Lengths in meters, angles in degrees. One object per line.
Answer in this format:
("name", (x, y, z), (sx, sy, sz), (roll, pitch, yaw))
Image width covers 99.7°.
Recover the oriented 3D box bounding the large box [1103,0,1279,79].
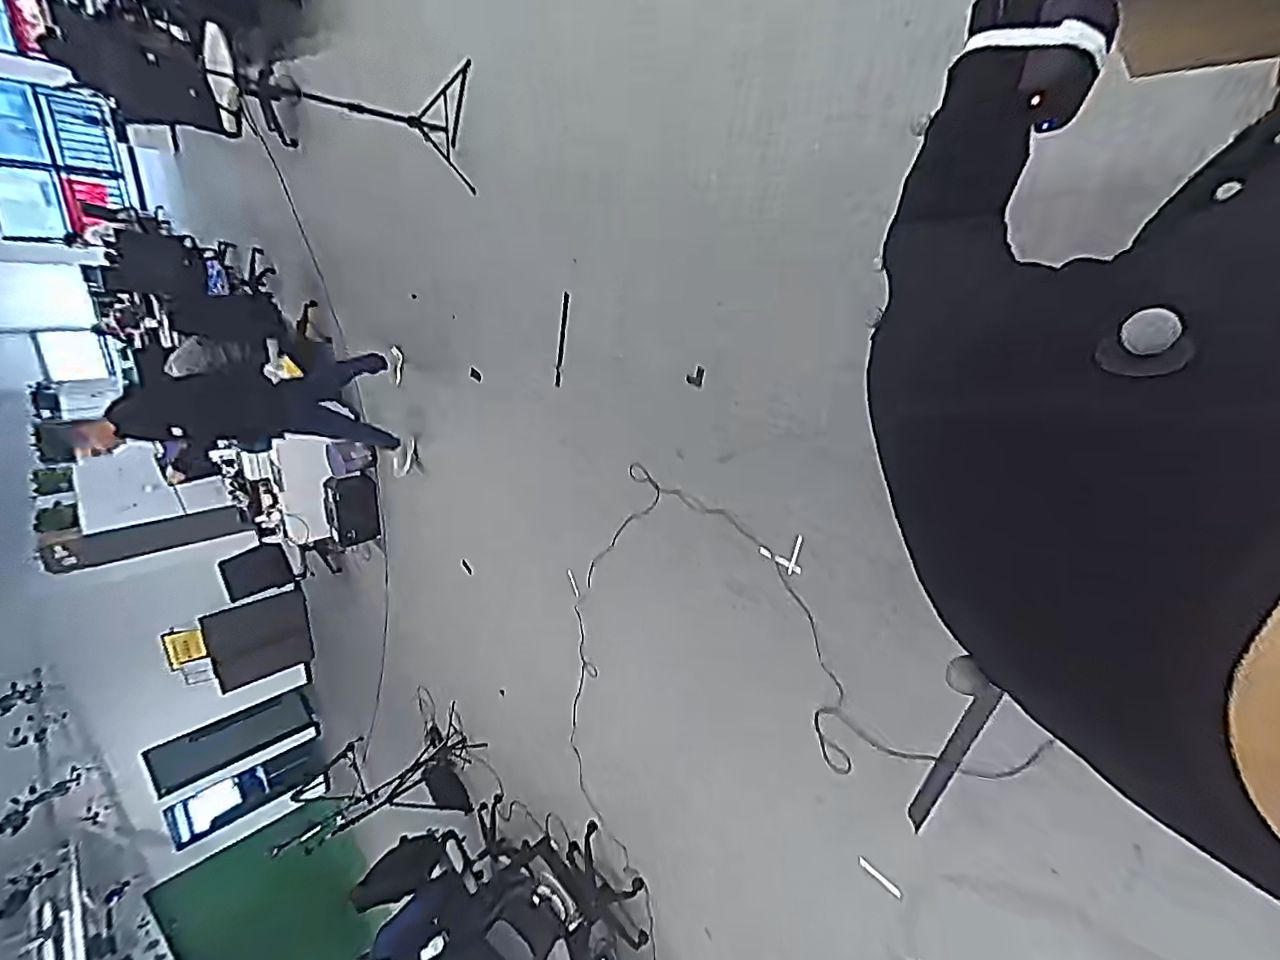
("large box", (0.554, -0.471, 0.292), (0.408, 0.320, 0.320), (20, 121, 38))
